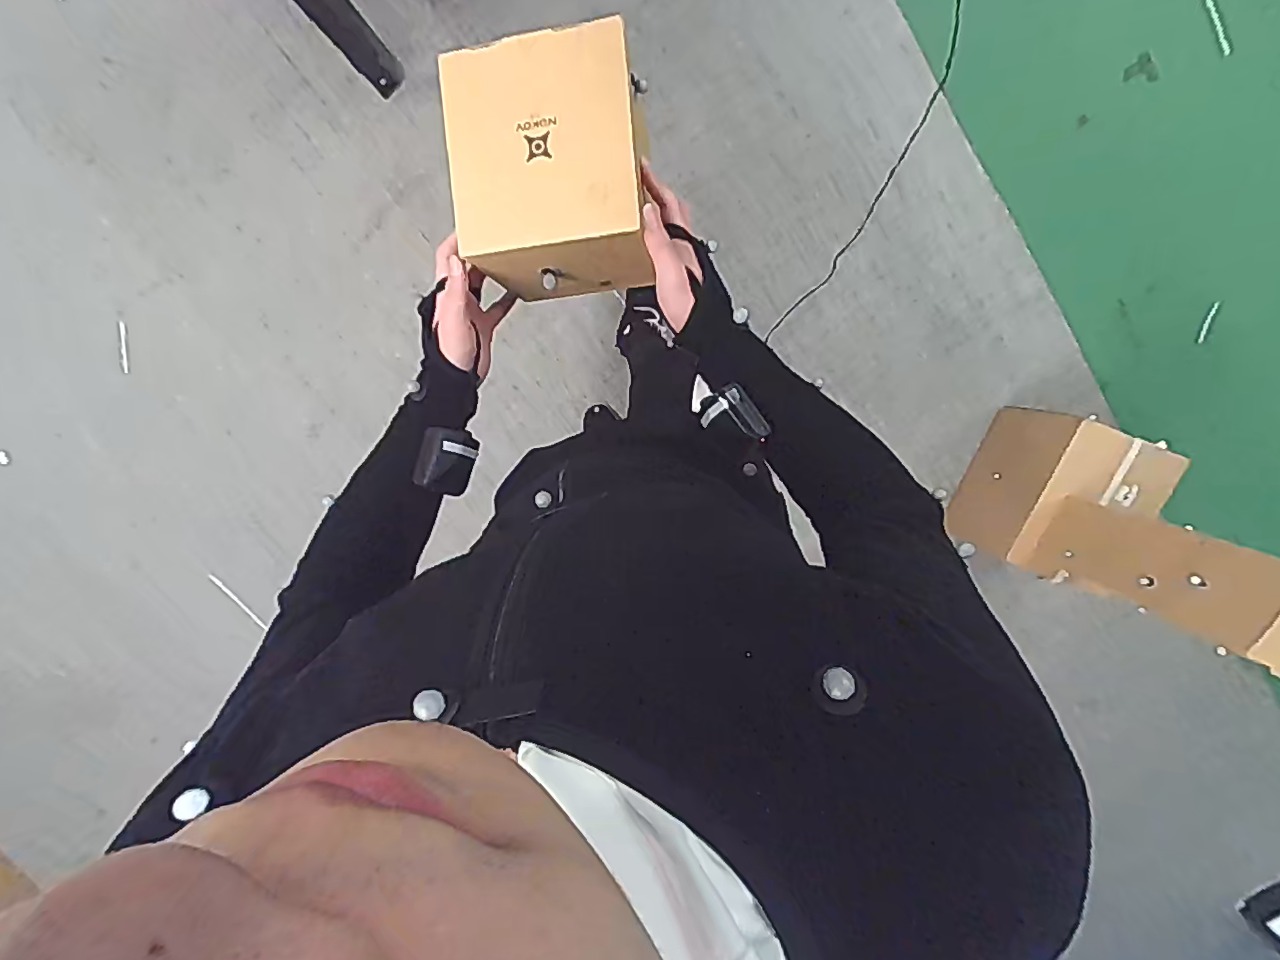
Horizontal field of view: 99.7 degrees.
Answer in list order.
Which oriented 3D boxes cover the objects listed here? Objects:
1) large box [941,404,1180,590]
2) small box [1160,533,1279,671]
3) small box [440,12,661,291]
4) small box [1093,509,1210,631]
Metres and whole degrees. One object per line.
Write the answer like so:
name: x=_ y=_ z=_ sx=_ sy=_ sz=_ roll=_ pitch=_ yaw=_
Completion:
large box: x=1.144 y=0.033 z=1.522 sx=0.320 sy=0.320 sz=0.408 roll=19 pitch=101 yaw=-7
small box: x=1.114 y=0.223 z=0.976 sx=0.168 sy=0.176 sz=0.179 roll=24 pitch=103 yaw=-7
small box: x=-0.074 y=-0.299 z=0.540 sx=0.168 sy=0.176 sz=0.179 roll=-5 pitch=93 yaw=9
small box: x=1.115 y=0.186 z=1.136 sx=0.168 sy=0.176 sz=0.179 roll=24 pitch=102 yaw=-7
